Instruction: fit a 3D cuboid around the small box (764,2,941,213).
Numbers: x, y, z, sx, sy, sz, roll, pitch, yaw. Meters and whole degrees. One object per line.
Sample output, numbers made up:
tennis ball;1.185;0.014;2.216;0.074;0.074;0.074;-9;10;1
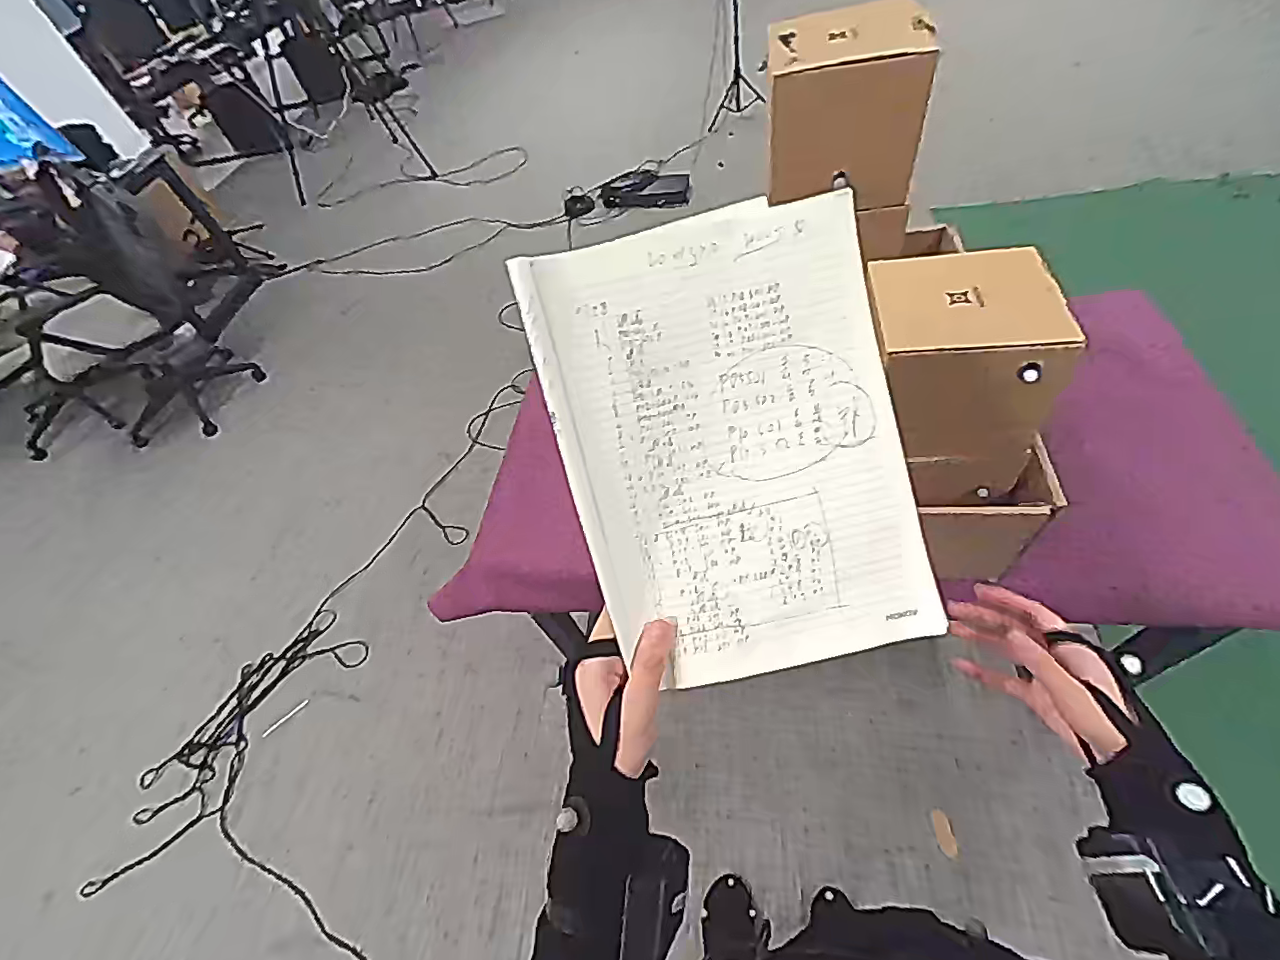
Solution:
small box;0.254;-0.469;0.694;0.179;0.176;0.168;0;54;11

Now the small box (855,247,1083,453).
small box;0.354;-0.144;0.629;0.179;0.176;0.168;0;52;12

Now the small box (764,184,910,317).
small box;0.284;-0.371;0.822;0.179;0.176;0.168;-3;54;11
